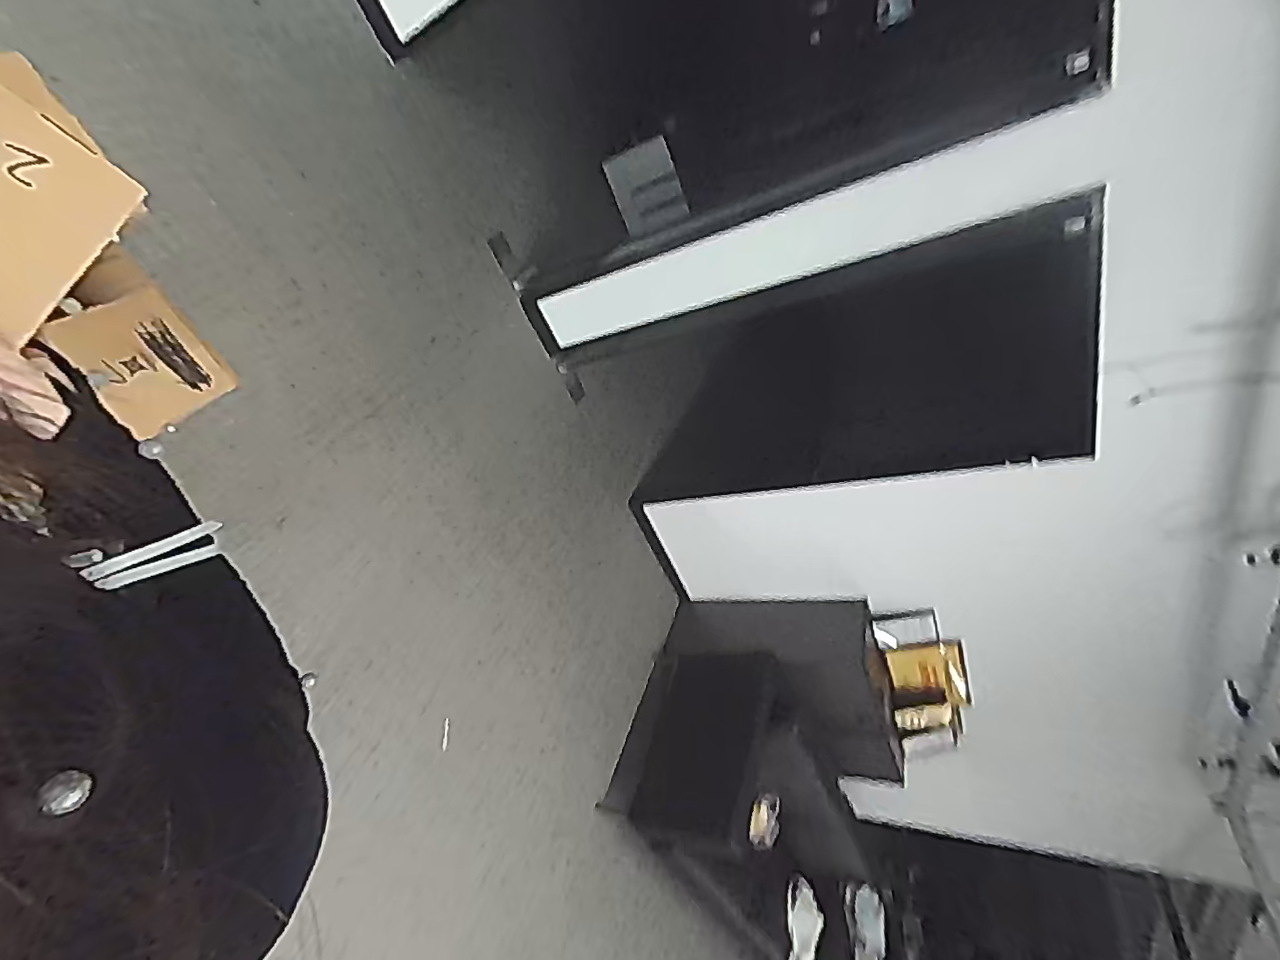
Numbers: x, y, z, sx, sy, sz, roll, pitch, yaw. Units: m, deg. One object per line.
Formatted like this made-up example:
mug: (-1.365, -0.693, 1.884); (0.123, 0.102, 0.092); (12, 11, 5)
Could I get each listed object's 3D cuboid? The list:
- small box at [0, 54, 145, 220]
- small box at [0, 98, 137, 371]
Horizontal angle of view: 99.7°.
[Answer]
small box: (-0.727, -0.331, 0.597); (0.168, 0.176, 0.179); (65, 36, -31)
small box: (-0.505, -0.184, 0.365); (0.168, 0.176, 0.179); (42, 67, -52)
